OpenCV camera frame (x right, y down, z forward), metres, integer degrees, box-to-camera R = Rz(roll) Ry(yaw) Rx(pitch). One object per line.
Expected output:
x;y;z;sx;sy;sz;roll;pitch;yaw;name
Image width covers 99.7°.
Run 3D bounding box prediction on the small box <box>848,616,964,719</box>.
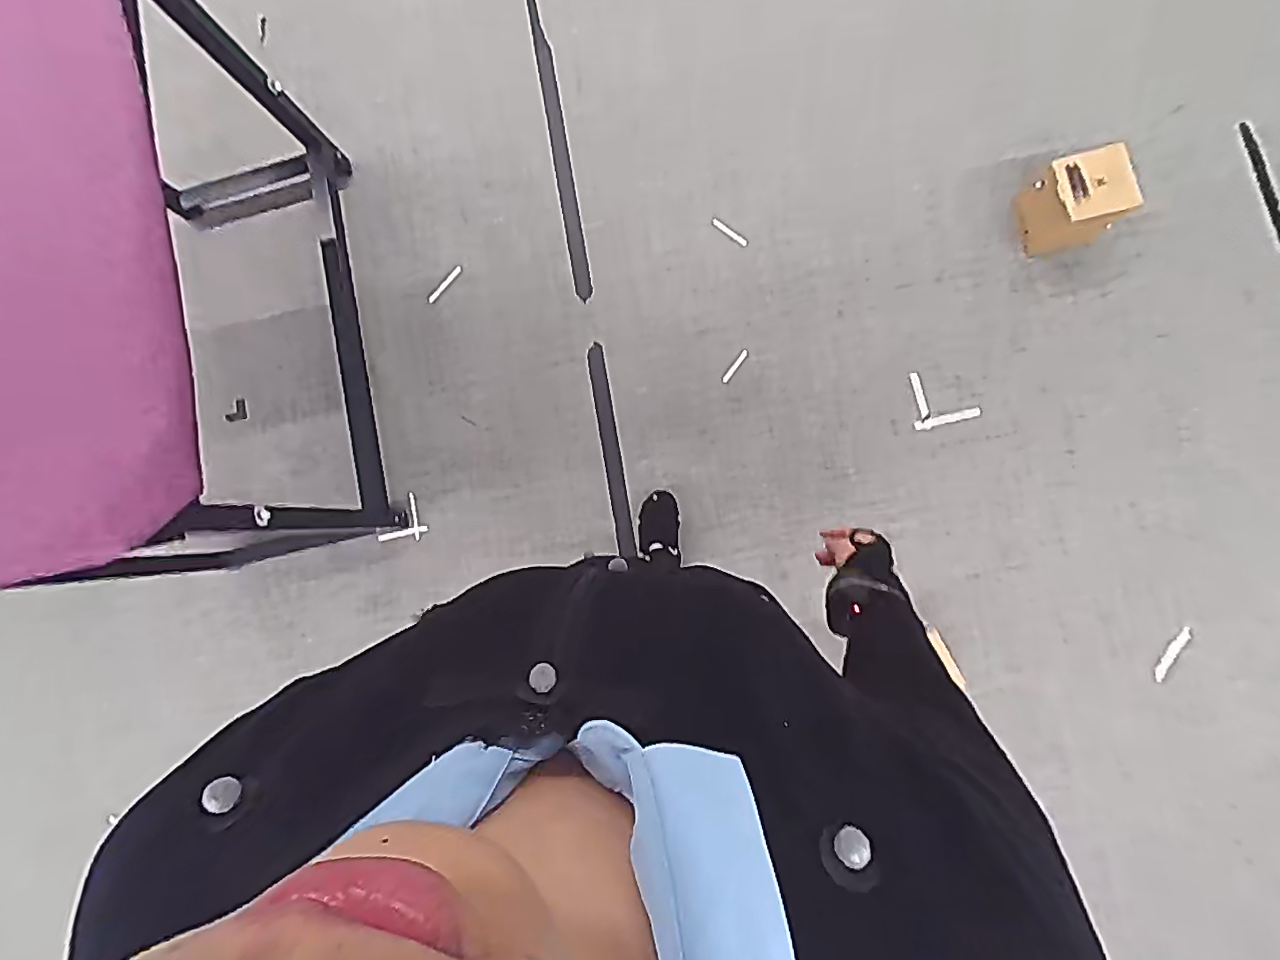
0.644;0.450;1.336;0.168;0.176;0.179;-27;83;2;small box
